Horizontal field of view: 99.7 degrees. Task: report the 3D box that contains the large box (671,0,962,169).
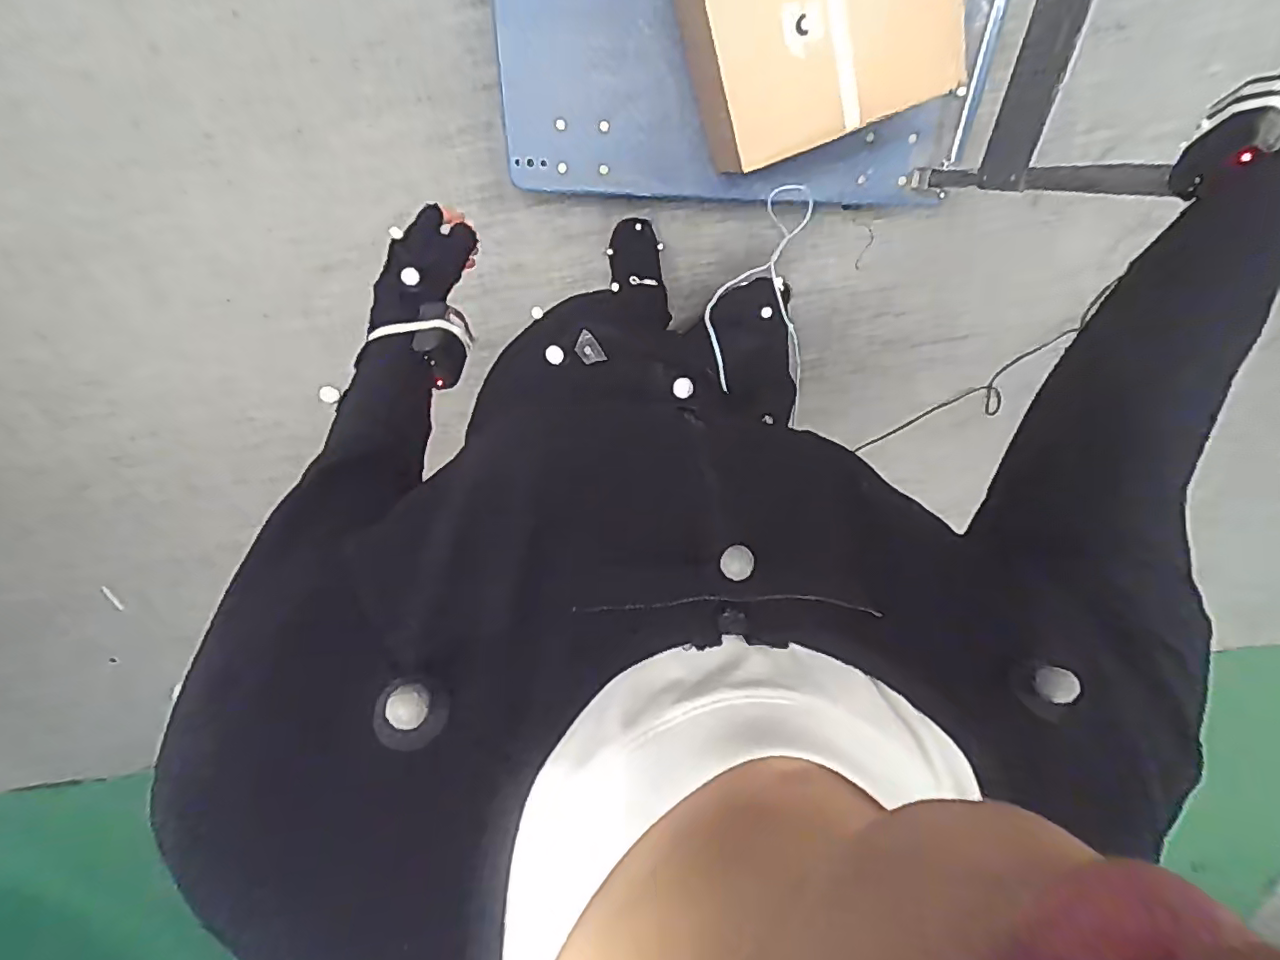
[{"bbox_3d":[0.223,-0.733,0.797,0.320,0.320,0.408,-18,119,10],"label":"large box"}]
